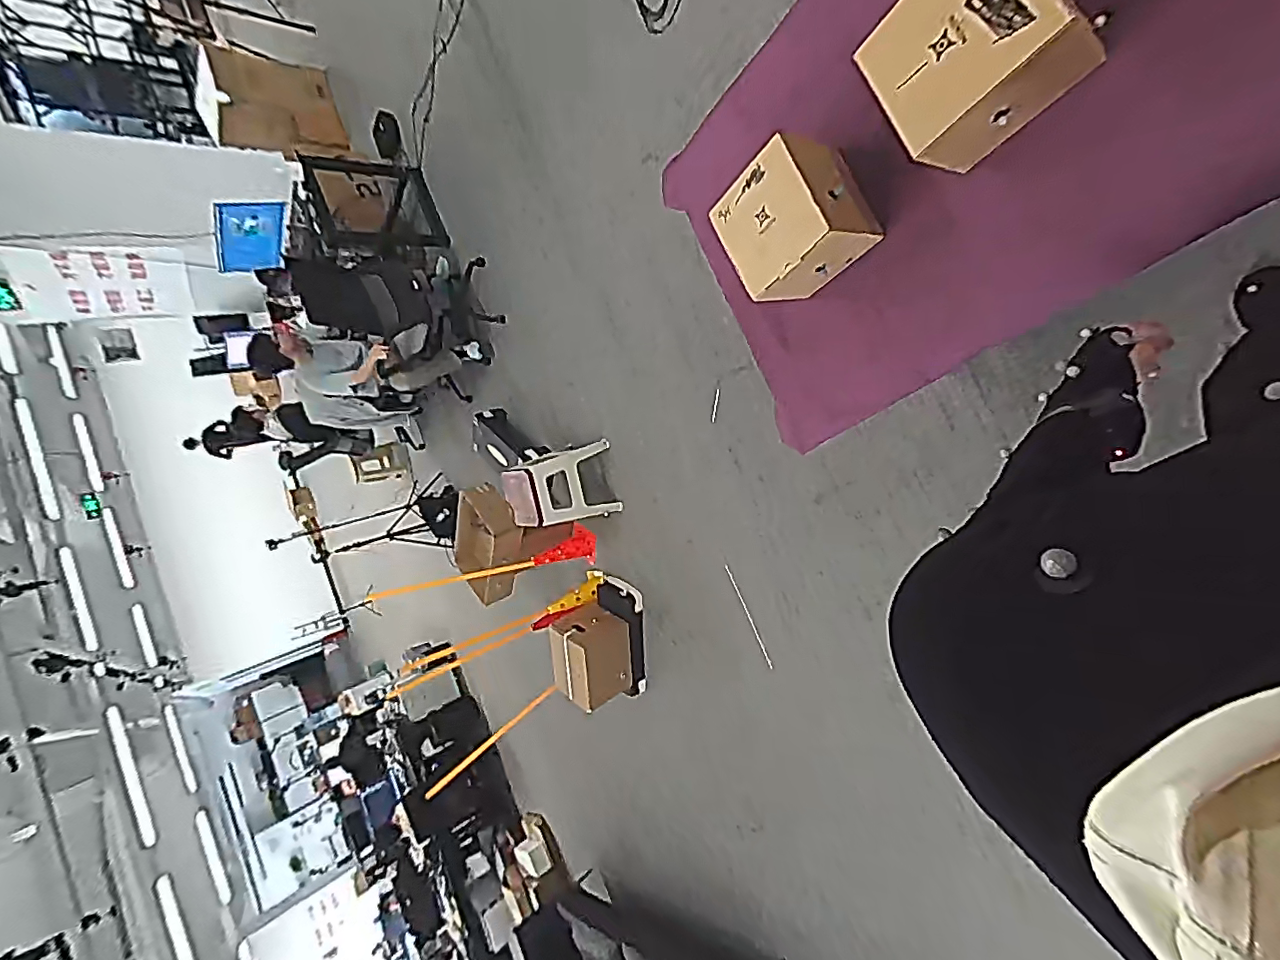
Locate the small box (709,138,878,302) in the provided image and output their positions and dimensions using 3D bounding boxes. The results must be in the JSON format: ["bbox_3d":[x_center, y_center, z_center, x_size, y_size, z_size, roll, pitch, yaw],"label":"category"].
[{"bbox_3d":[0.254,-0.418,0.888,0.168,0.176,0.179,-34,78,50],"label":"small box"}]

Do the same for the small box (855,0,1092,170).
[{"bbox_3d":[0.410,-0.517,0.662,0.179,0.176,0.168,-34,77,52],"label":"small box"}]
